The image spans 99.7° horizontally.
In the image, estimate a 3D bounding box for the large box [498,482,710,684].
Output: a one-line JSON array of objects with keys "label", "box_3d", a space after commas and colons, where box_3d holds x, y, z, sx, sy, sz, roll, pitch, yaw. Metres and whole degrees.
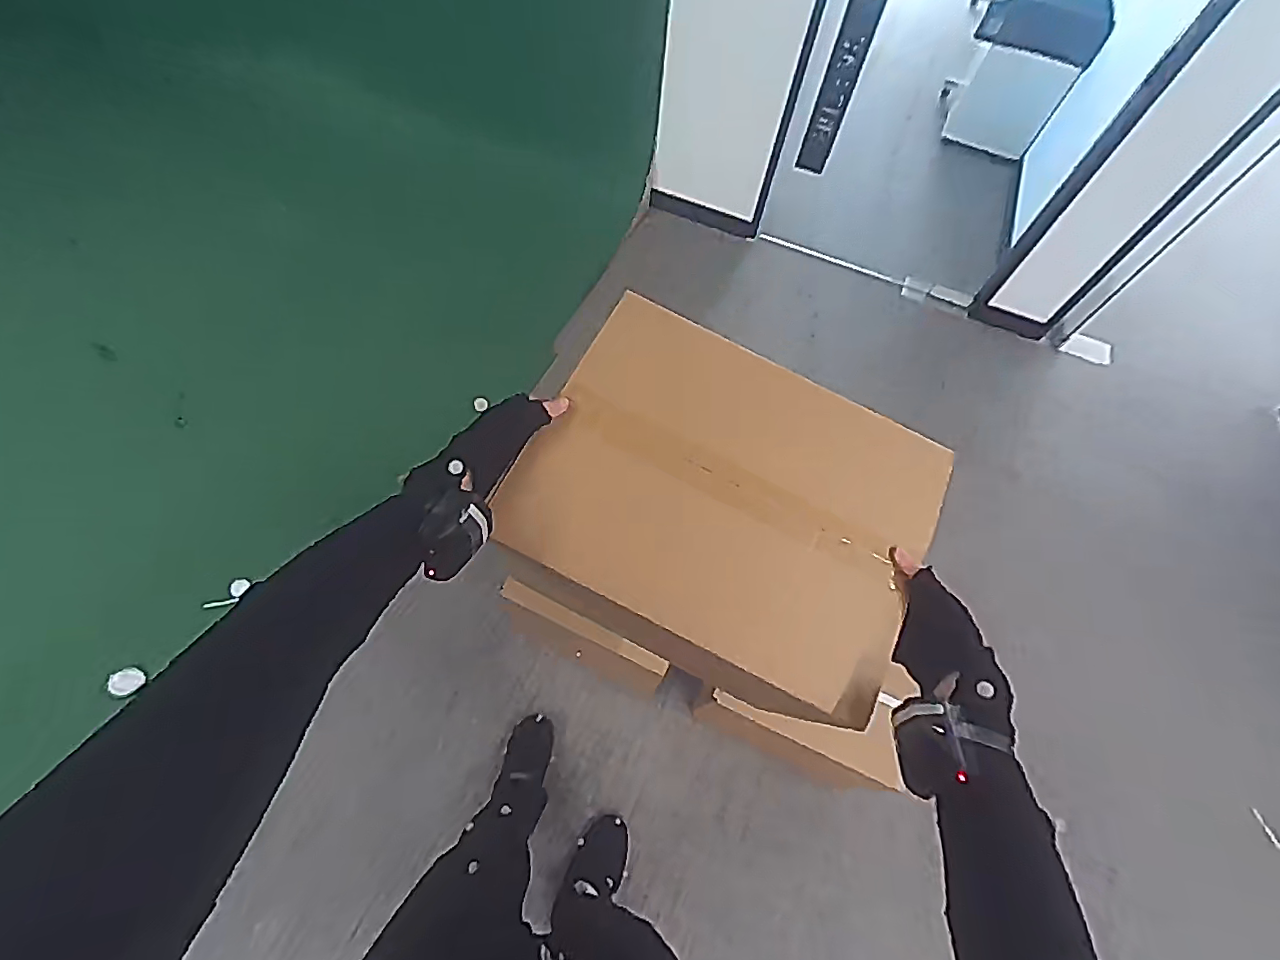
[{"label": "large box", "box_3d": [-0.082, 0.269, 1.364, 0.408, 0.320, 0.320, 24, 62, 9]}]
